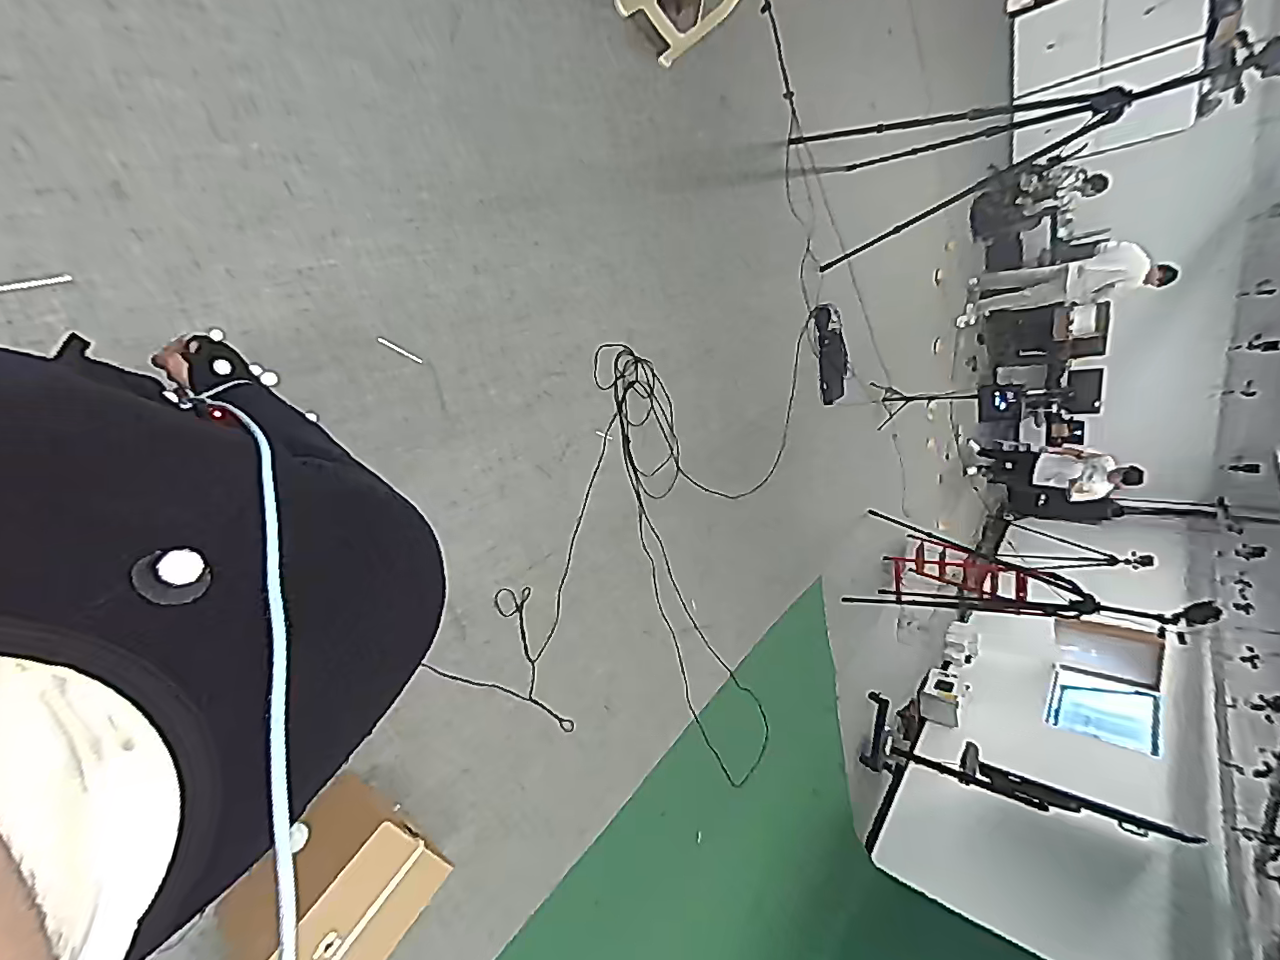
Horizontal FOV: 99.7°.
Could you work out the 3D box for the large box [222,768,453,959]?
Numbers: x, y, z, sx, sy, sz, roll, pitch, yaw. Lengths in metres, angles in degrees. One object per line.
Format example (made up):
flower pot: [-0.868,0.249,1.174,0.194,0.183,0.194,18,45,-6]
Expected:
large box: [-0.813,1.099,1.478,0.408,0.320,0.320,-48,126,-31]
